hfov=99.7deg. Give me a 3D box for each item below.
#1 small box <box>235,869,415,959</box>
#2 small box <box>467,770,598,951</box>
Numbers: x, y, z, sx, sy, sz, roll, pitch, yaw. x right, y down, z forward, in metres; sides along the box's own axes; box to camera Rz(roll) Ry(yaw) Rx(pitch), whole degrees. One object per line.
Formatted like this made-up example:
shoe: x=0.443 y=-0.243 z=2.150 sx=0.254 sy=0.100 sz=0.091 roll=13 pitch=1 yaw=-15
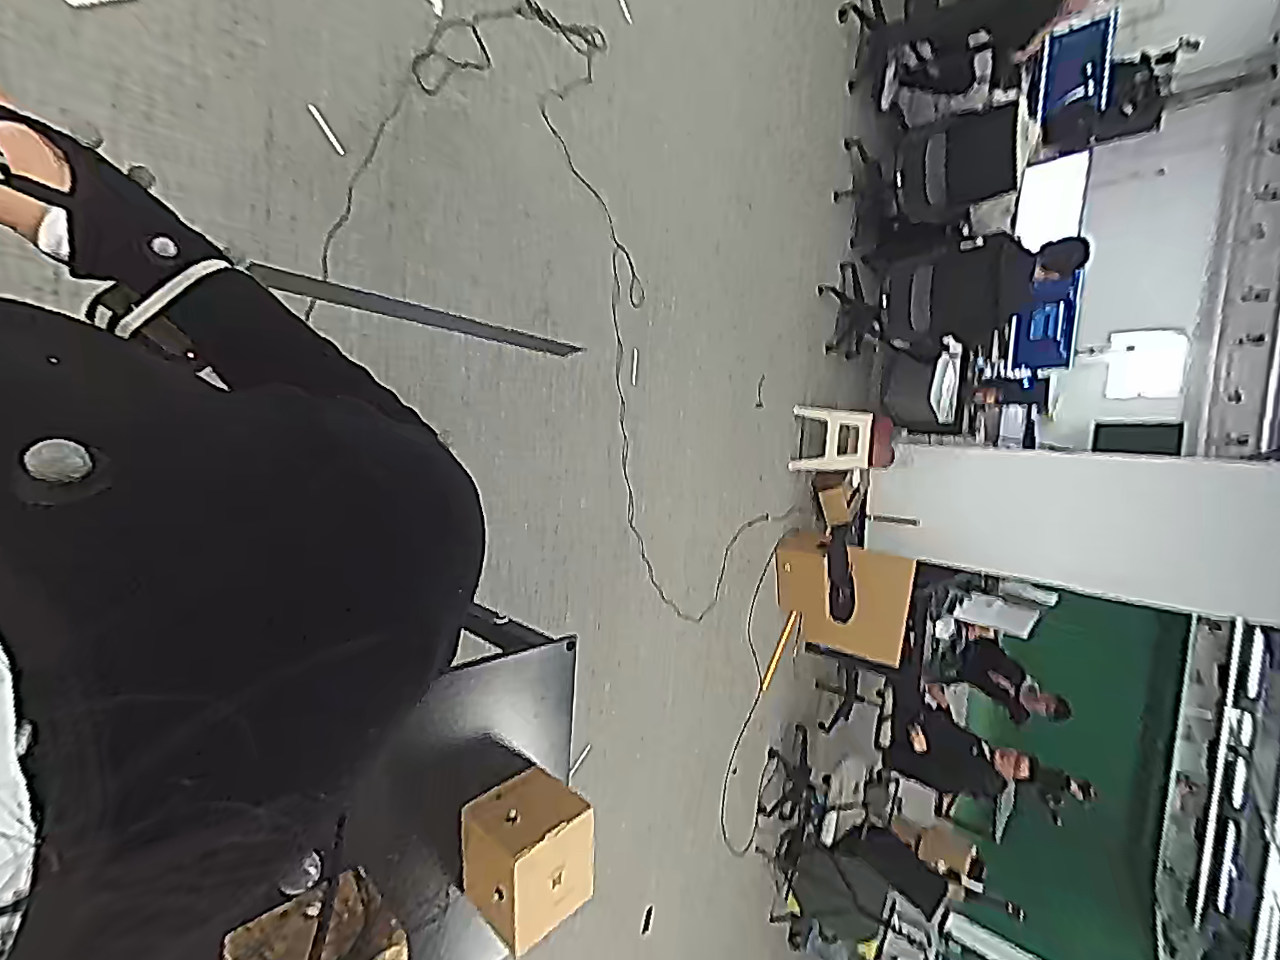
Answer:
small box: x=-0.415 y=0.674 z=0.712 sx=0.168 sy=0.176 sz=0.179 roll=-4 pitch=97 yaw=-48
small box: x=-0.192 y=0.650 z=0.958 sx=0.168 sy=0.176 sz=0.179 roll=-7 pitch=102 yaw=-46
